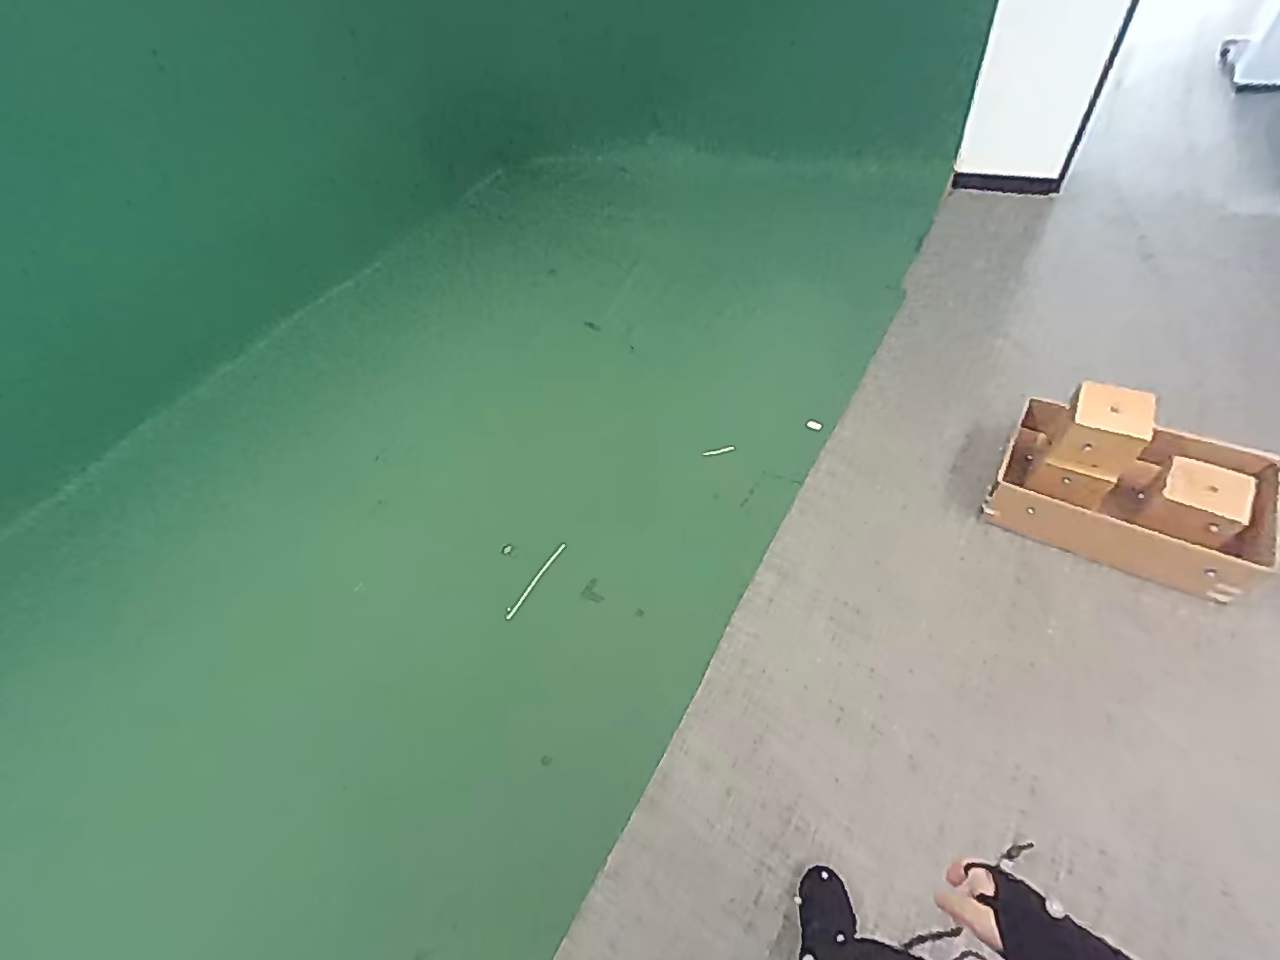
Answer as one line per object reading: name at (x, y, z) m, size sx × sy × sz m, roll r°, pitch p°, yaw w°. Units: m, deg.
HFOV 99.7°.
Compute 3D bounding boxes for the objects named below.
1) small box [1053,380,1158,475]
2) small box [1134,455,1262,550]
small box at (1.268, -0.141, 1.482) m, size 0.168 × 0.176 × 0.179 m, roll 20°, pitch 60°, yaw 25°
small box at (1.513, 0.068, 1.473) m, size 0.179 × 0.176 × 0.168 m, roll 26°, pitch 63°, yaw 29°
